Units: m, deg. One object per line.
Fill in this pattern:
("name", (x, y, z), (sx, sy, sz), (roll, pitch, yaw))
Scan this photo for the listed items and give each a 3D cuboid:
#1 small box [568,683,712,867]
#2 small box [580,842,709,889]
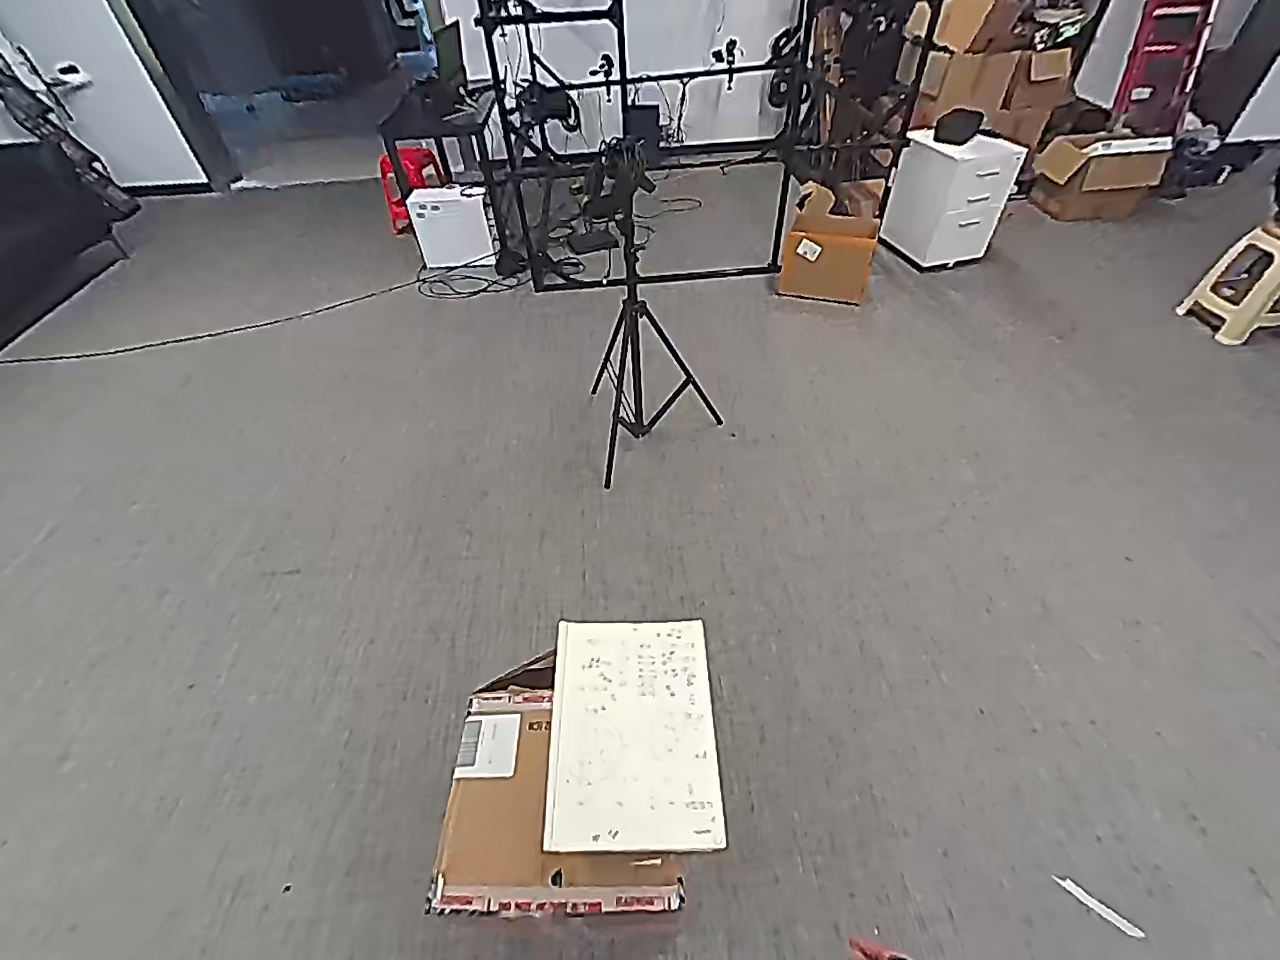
("small box", (-0.005, 0.392, 0.720), (0.168, 0.176, 0.179), (-3, 48, -3))
("small box", (-0.001, 0.510, 0.832), (0.179, 0.176, 0.168), (-6, 47, -4))
